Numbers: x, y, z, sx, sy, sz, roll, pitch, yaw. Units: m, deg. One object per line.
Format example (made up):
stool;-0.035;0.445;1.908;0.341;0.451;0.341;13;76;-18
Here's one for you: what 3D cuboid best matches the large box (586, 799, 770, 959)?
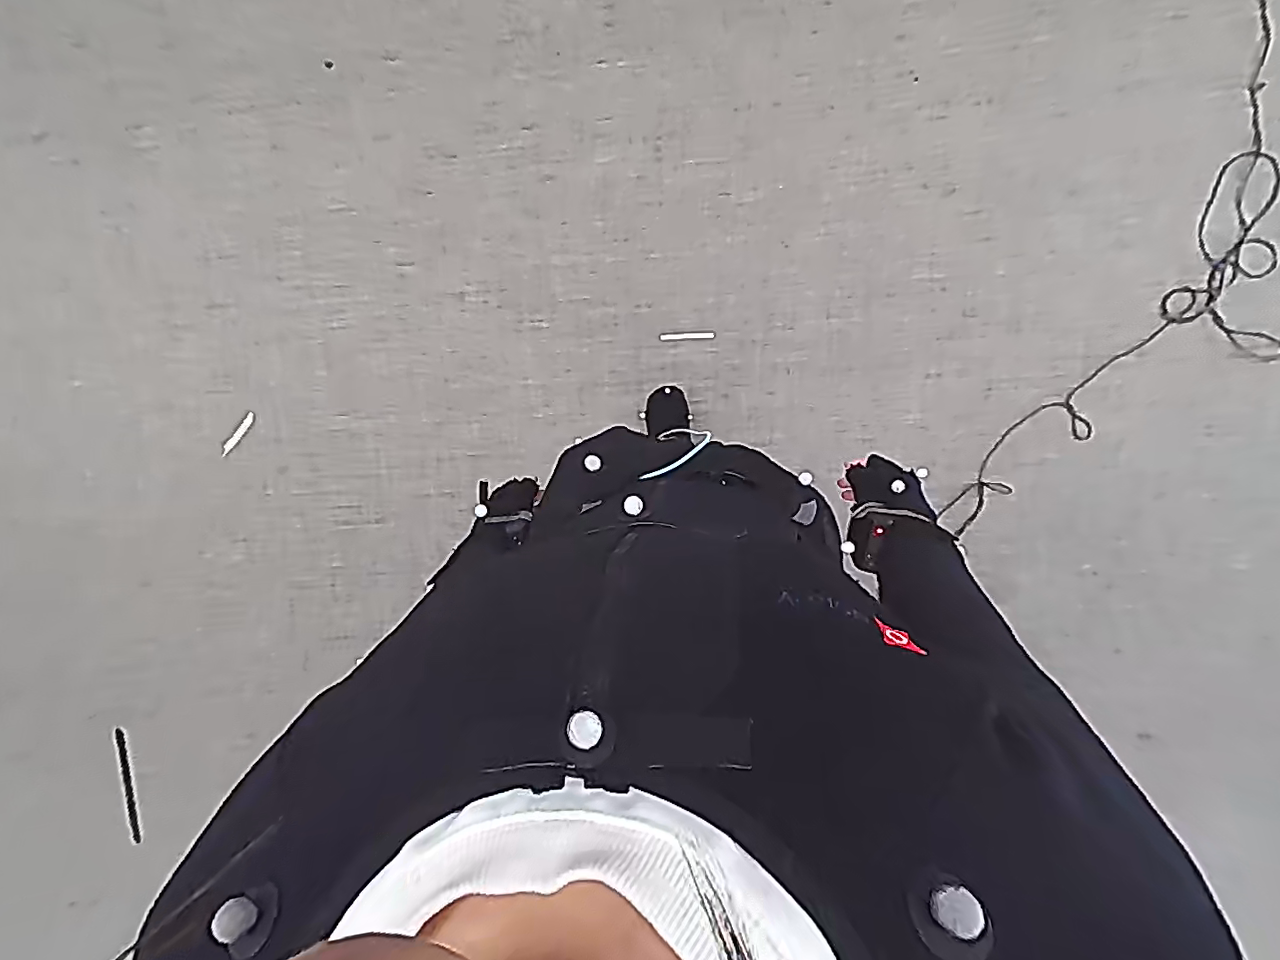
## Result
large box;0.100;1.105;1.398;0.408;0.320;0.320;11;96;7
